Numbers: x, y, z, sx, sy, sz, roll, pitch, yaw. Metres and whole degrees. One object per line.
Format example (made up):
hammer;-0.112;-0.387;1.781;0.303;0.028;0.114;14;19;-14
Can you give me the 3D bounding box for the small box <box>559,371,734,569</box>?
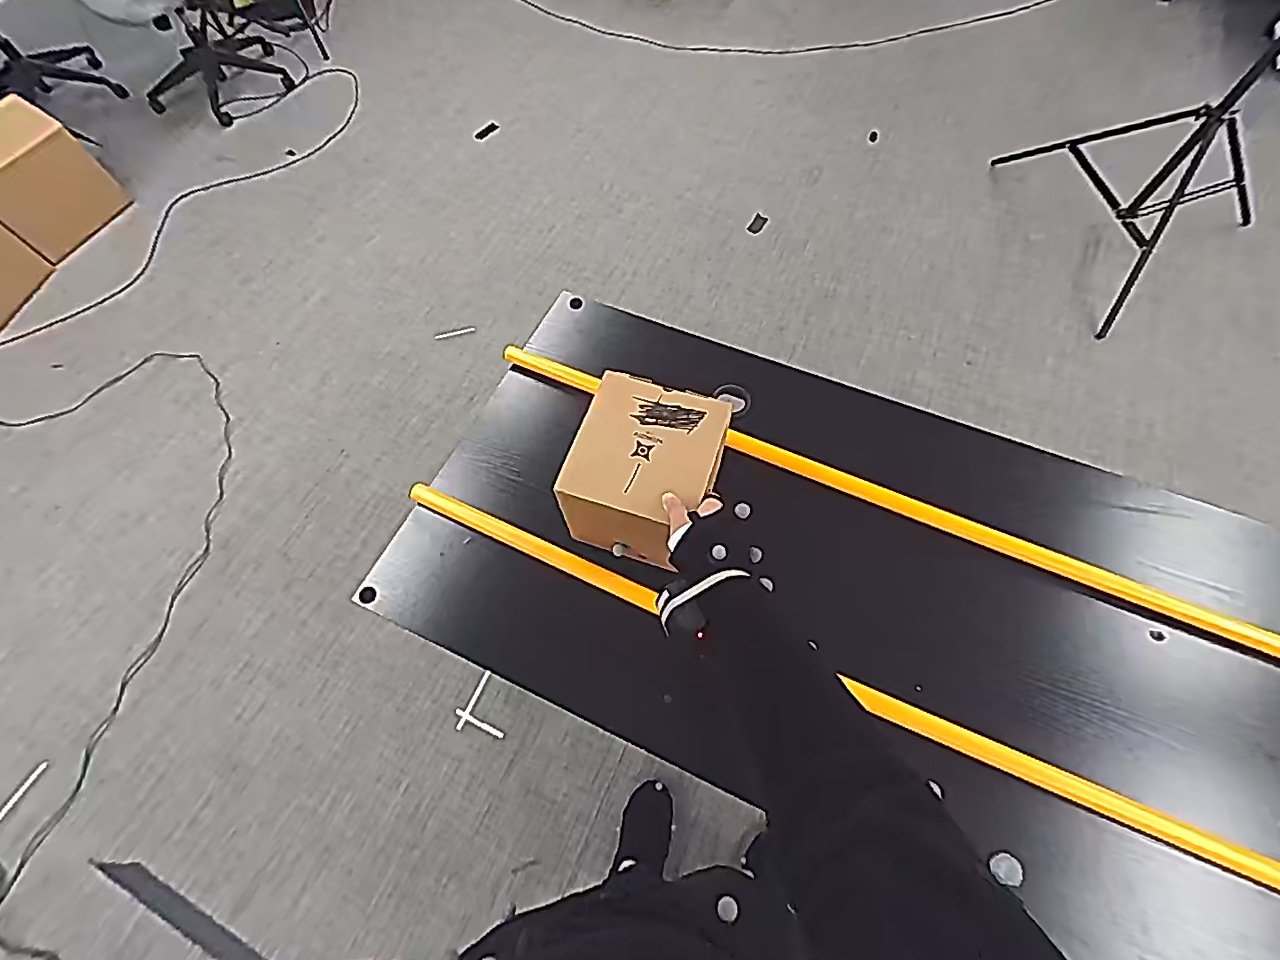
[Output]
small box;0.012;-0.006;0.705;0.168;0.176;0.179;16;66;10
